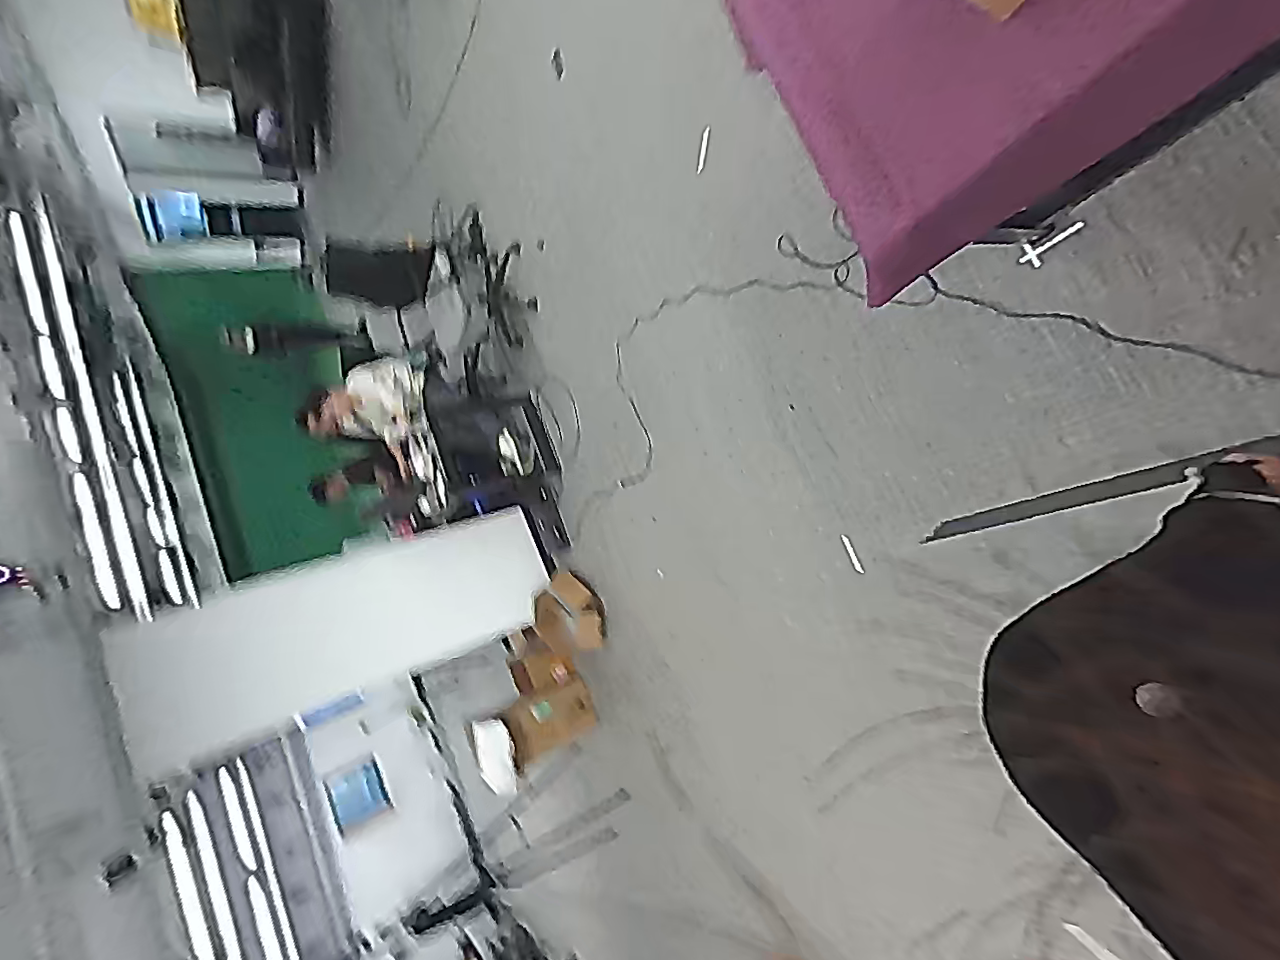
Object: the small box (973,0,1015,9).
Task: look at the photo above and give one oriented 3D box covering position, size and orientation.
[{"bbox_3d":[0.401,-0.685,0.608,0.168,0.176,0.179,-42,71,54],"label":"small box"}]
